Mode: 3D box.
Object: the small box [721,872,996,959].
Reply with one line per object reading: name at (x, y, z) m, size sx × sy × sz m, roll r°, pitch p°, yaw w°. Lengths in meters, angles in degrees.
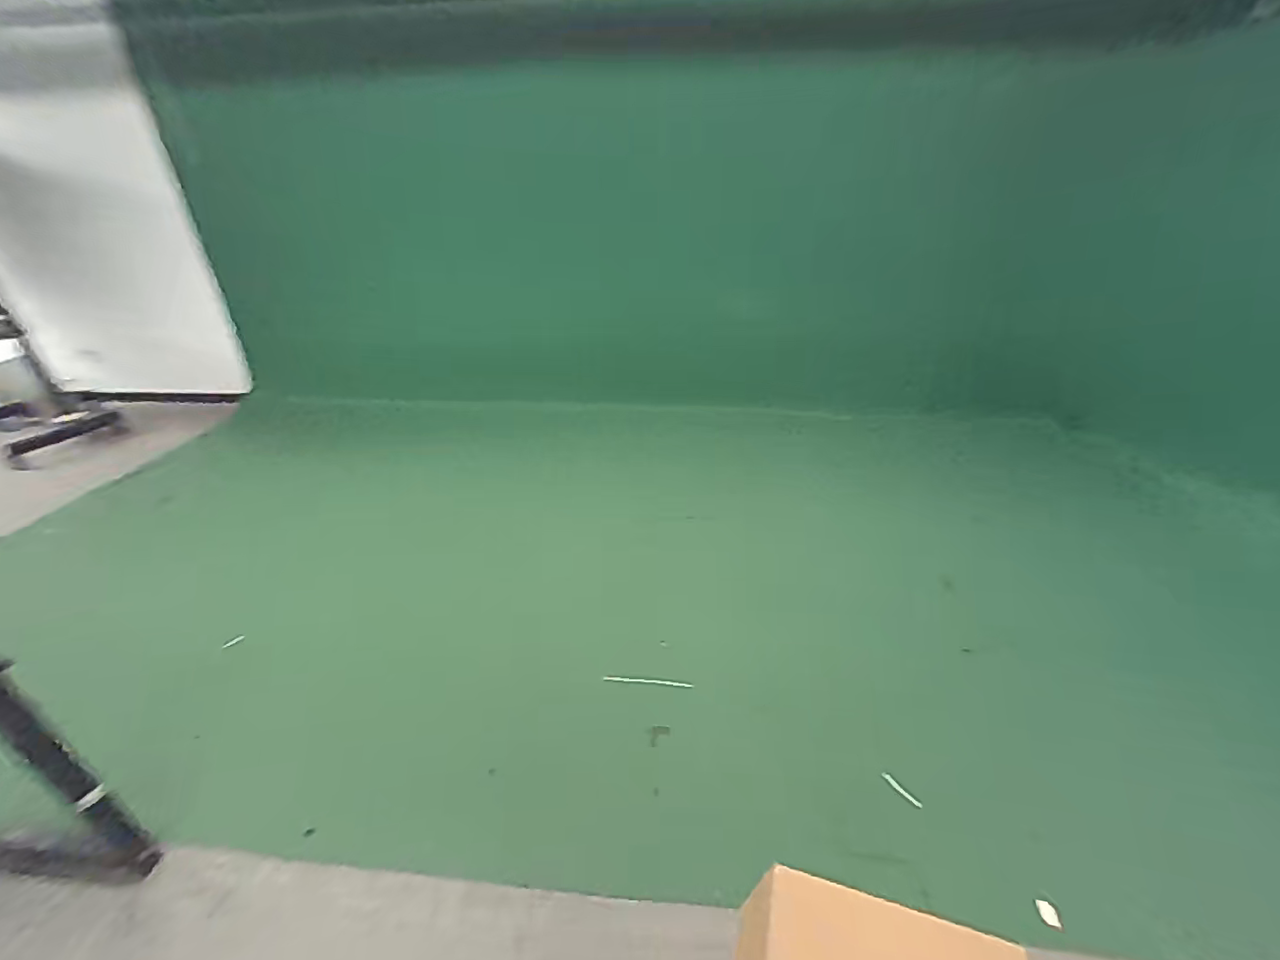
small box at (0.136, 0.416, 0.372) m, size 0.168 × 0.176 × 0.179 m, roll 11°, pitch 44°, yaw 11°
